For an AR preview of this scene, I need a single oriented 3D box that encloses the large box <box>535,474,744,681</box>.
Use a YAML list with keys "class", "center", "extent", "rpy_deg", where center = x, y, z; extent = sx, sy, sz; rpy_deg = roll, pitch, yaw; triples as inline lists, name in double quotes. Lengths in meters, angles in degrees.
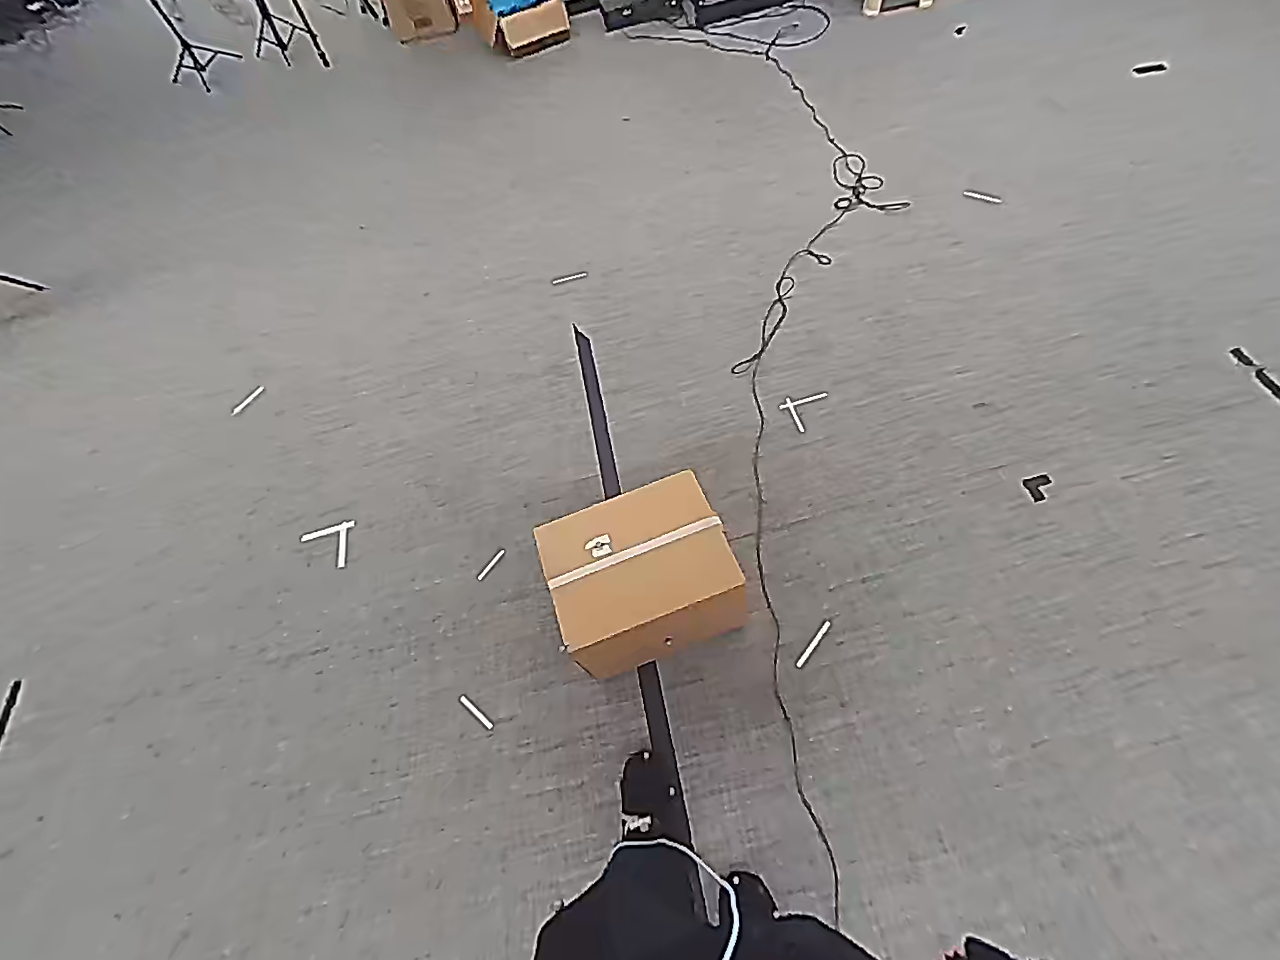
- class: "large box"
  center: [0.009, 0.248, 1.324]
  extent: [0.408, 0.320, 0.320]
  rpy_deg: [-21, 57, -2]
